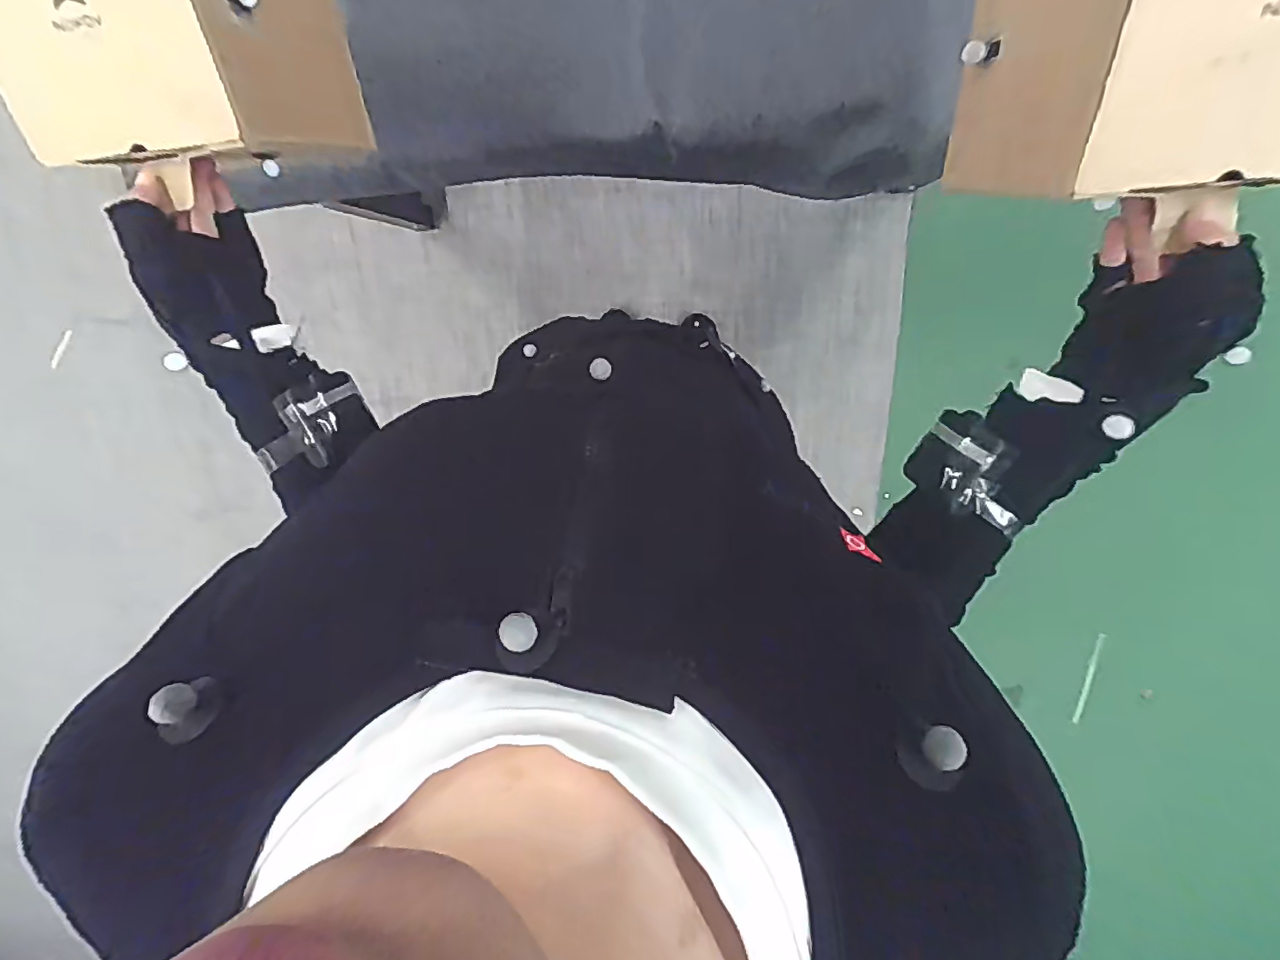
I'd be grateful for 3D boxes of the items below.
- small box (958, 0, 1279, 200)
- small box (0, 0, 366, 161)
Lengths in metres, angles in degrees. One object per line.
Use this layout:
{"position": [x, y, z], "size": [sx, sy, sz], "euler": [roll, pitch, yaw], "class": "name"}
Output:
{"position": [0.322, -0.277, 0.323], "size": [0.168, 0.176, 0.179], "euler": [-2, 121, 4], "class": "small box"}
{"position": [-0.336, -0.340, 0.390], "size": [0.168, 0.176, 0.179], "euler": [-1, 119, 9], "class": "small box"}
